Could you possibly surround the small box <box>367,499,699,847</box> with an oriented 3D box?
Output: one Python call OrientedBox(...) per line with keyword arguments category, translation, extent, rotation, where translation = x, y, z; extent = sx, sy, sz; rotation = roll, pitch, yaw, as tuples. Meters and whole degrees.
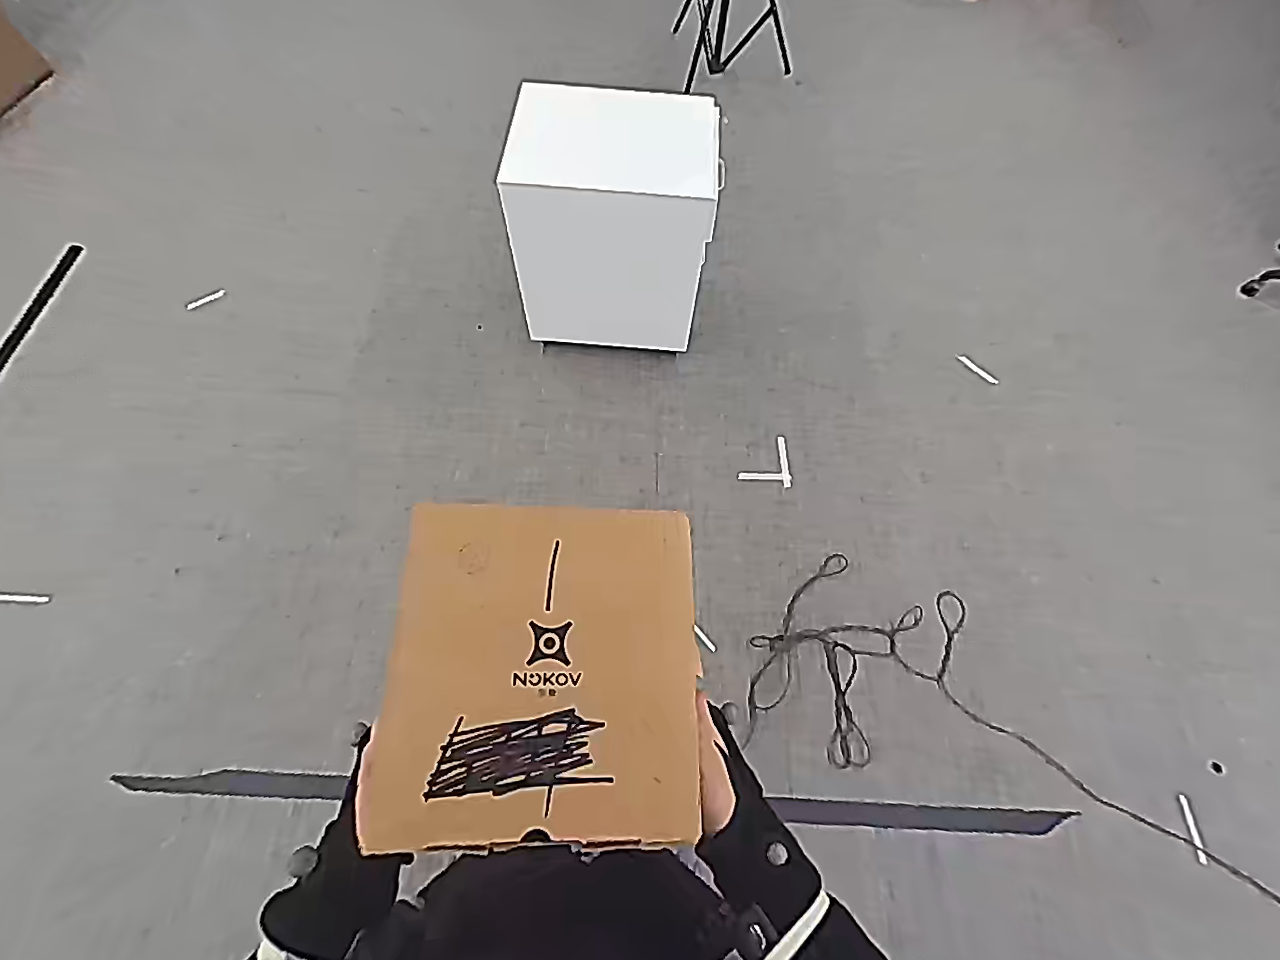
OrientedBox(category="small box", translation=(-0.058, 0.124, 0.367), extent=(0.168, 0.176, 0.179), rotation=(2, 68, -7))
